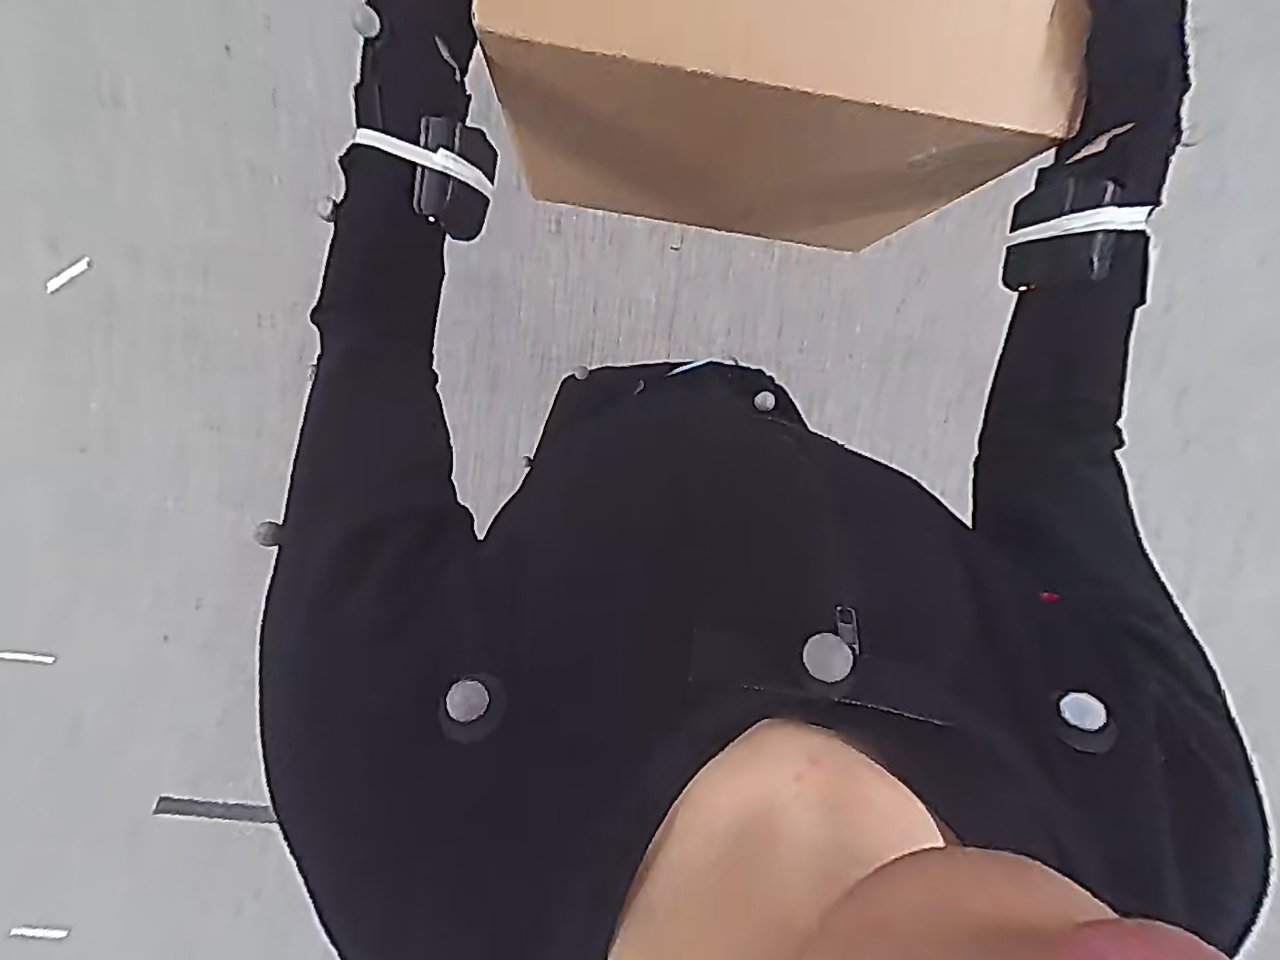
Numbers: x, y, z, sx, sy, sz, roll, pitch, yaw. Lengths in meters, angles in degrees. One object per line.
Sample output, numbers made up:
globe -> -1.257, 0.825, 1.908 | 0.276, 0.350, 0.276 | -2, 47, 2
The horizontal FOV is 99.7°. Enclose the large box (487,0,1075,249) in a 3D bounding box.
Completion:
large box -> 0.097, -0.433, 0.492 | 0.408, 0.320, 0.320 | 6, 99, -7
